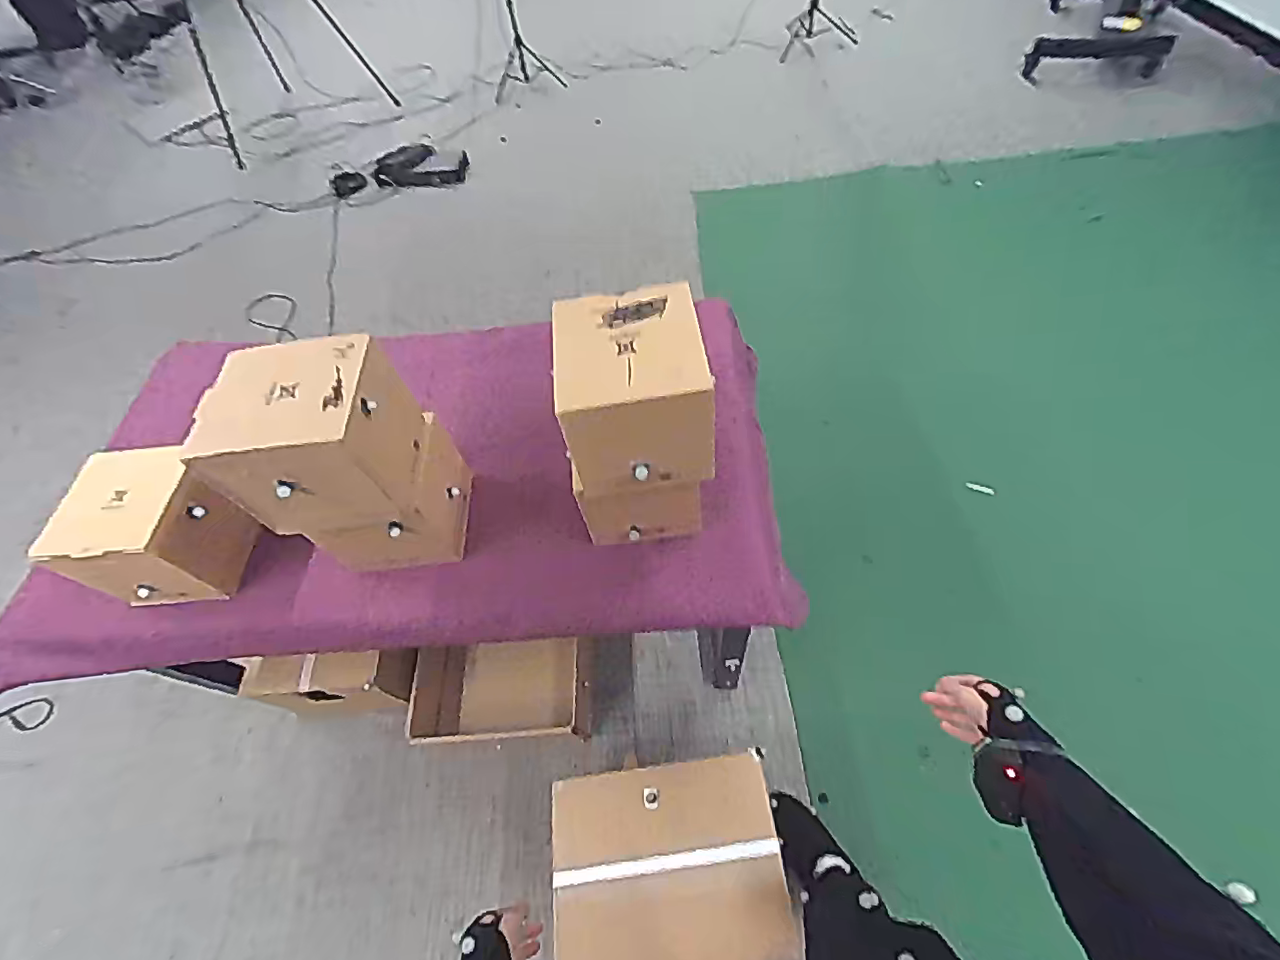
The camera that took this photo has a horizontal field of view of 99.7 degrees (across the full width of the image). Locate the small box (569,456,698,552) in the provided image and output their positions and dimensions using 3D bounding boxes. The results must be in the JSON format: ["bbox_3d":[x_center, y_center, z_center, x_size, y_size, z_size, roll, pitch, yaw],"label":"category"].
[{"bbox_3d":[-0.008,-0.015,0.798,0.168,0.176,0.179,-9,55,3],"label":"small box"}]

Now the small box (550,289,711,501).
[{"bbox_3d":[-0.008,-0.098,0.655,0.168,0.176,0.179,-9,55,3],"label":"small box"}]

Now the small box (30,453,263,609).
[{"bbox_3d":[-0.720,0.080,0.821,0.168,0.176,0.179,-5,56,3],"label":"small box"}]

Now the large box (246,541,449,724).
[{"bbox_3d":[-0.721,0.389,1.413,0.320,0.320,0.408,-6,58,2],"label":"large box"}]

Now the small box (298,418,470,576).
[{"bbox_3d":[-0.371,0.031,0.810,0.179,0.176,0.168,-7,55,3],"label":"small box"}]

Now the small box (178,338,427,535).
[{"bbox_3d":[-0.391,-0.045,0.664,0.179,0.176,0.168,-8,56,2],"label":"small box"}]
